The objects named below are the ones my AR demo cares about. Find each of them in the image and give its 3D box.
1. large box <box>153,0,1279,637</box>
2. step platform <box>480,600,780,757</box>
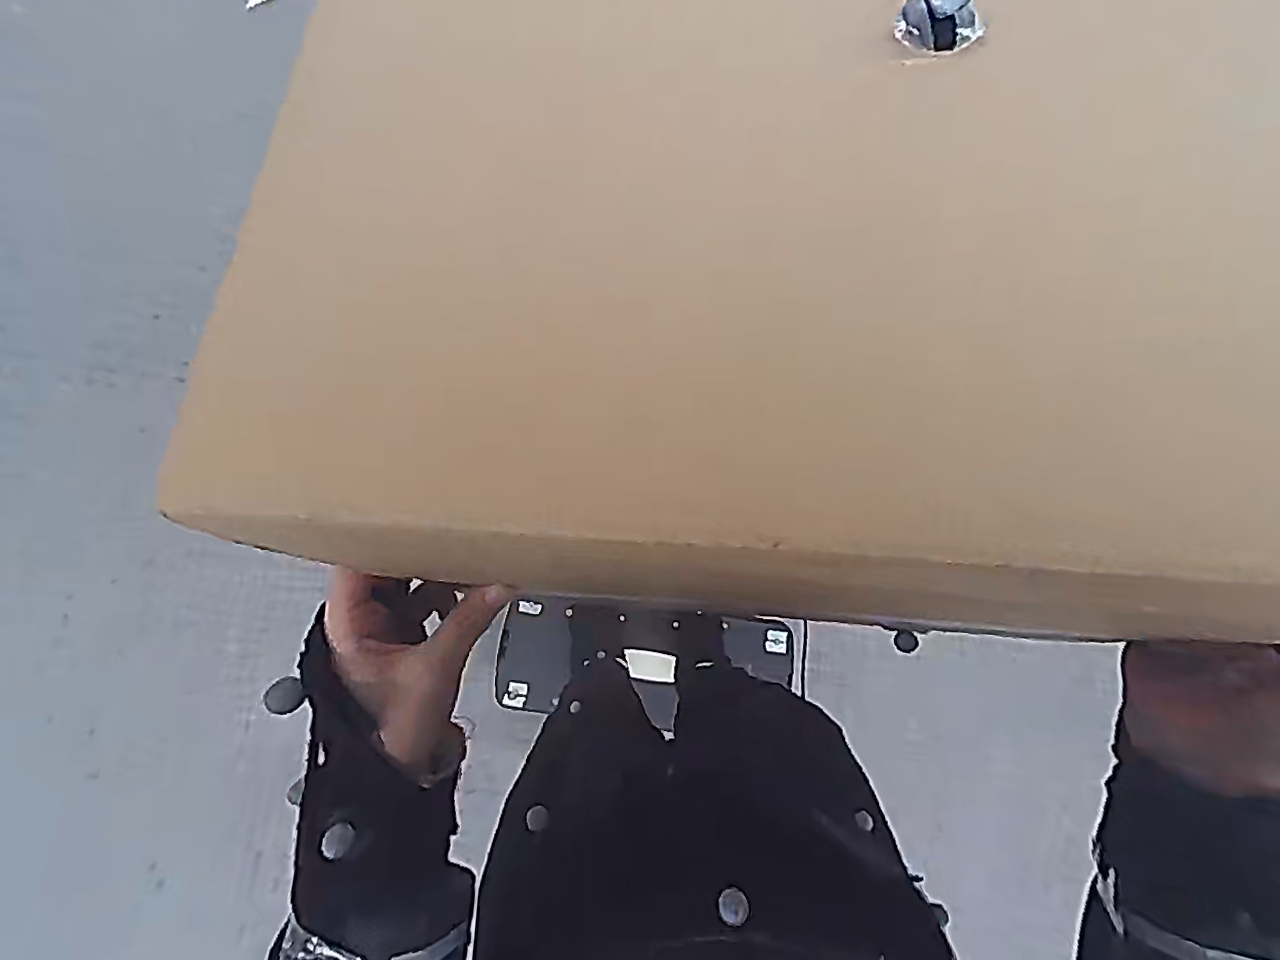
[{"bbox_3d":[0.082,-0.088,0.306,0.408,0.320,0.320,2,76,4],"label":"large box"},{"bbox_3d":[-0.020,0.427,1.287,0.684,0.204,0.286,14,83,-3],"label":"step platform"}]
